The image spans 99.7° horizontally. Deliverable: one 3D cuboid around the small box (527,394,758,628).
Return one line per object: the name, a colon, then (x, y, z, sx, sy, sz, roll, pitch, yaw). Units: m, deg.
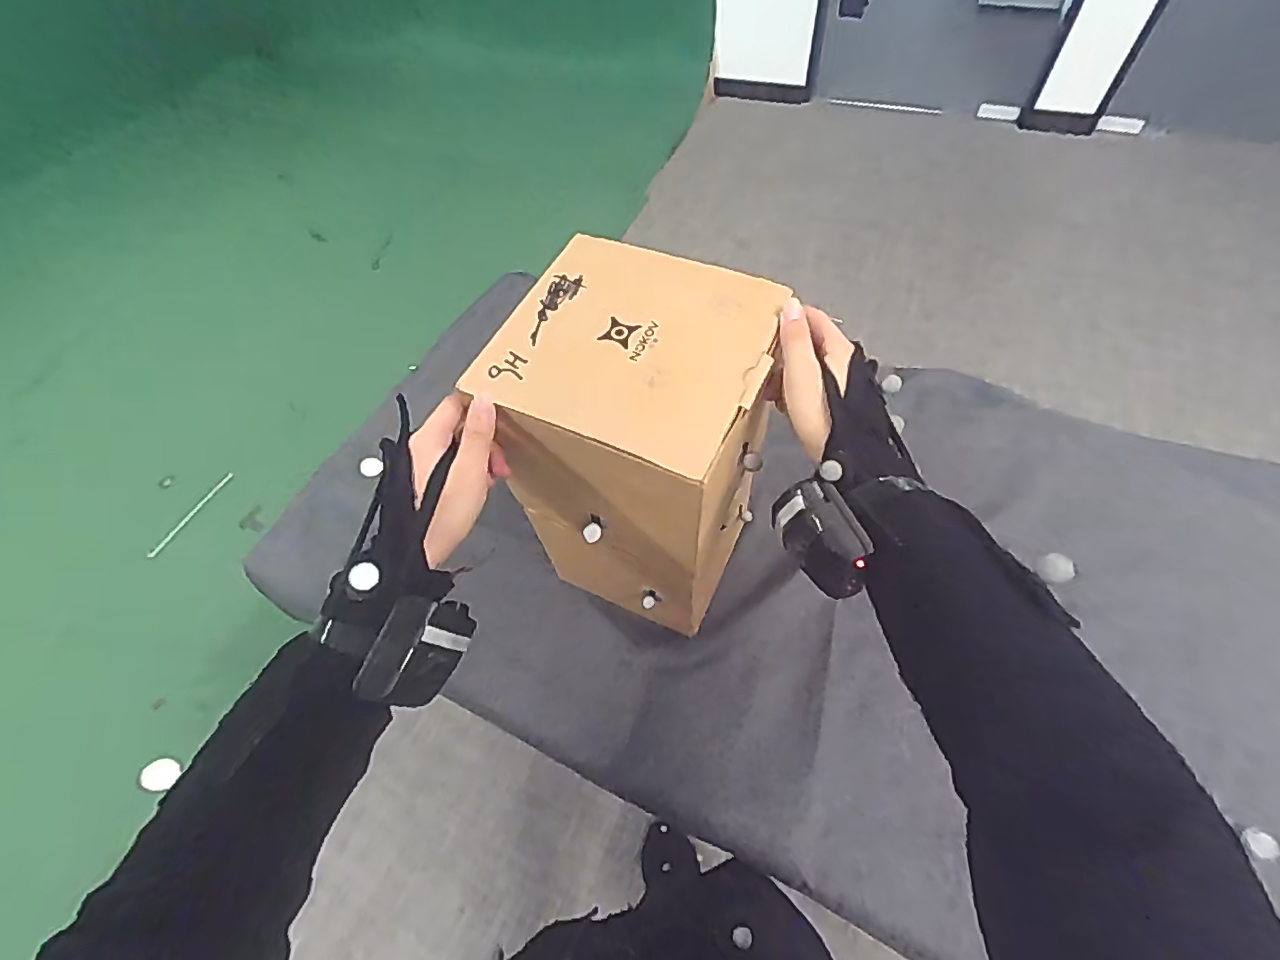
small box: (0.011, 0.040, 0.587, 0.179, 0.176, 0.168, 19, 59, 17)
